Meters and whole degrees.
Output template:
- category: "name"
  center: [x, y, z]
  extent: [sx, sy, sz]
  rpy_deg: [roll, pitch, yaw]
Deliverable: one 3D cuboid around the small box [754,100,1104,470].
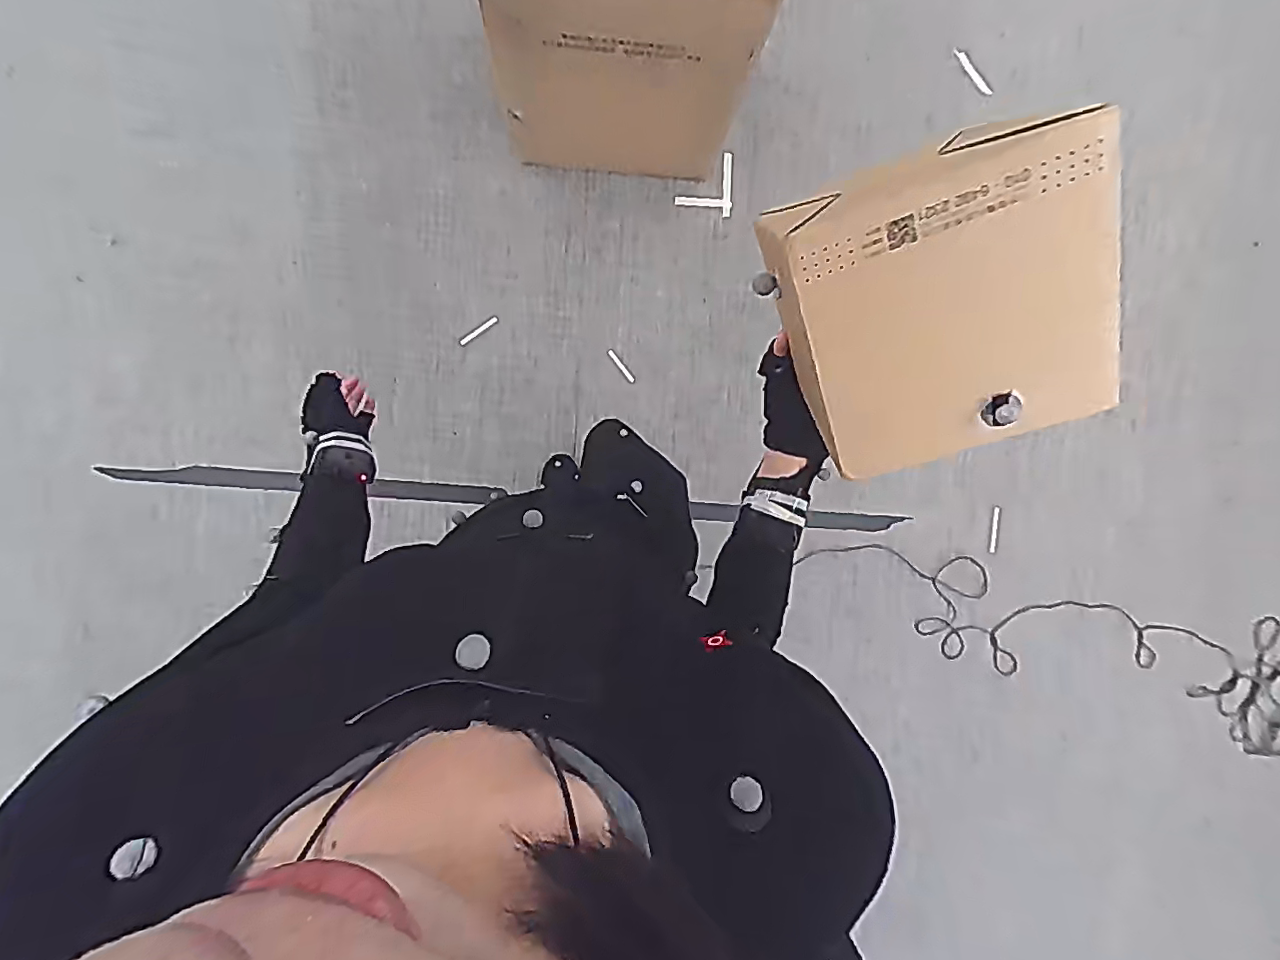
- category: "small box"
  center: [0.186, -0.138, 0.384]
  extent: [0.168, 0.179, 0.176]
  rpy_deg: [-18, 116, 16]
